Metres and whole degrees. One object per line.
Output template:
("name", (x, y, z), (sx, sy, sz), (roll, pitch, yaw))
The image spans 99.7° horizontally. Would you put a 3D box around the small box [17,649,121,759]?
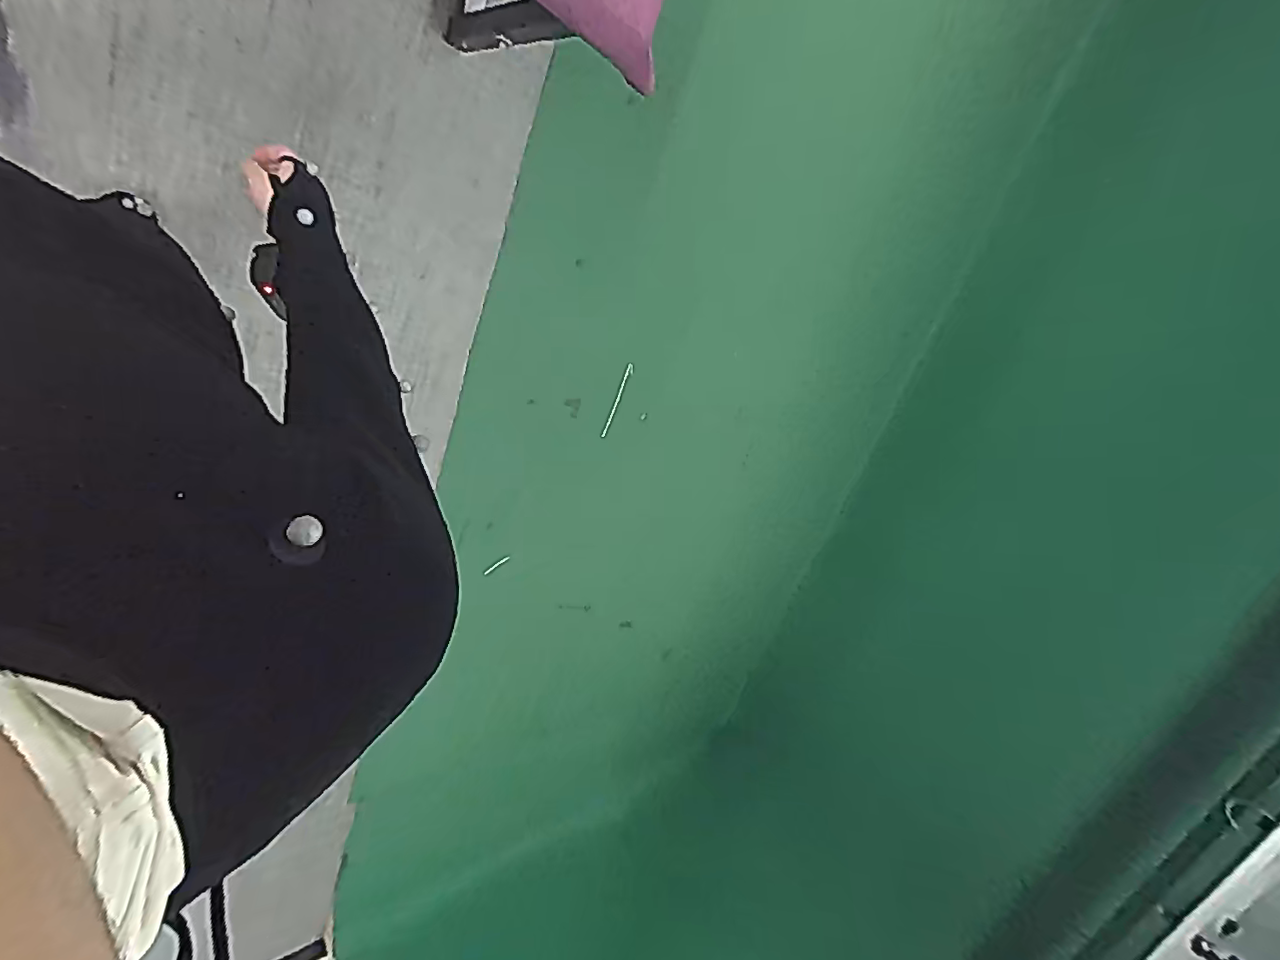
("small box", (-1.441, 0.559, 1.370), (0.168, 0.176, 0.179), (6, 113, -47))
